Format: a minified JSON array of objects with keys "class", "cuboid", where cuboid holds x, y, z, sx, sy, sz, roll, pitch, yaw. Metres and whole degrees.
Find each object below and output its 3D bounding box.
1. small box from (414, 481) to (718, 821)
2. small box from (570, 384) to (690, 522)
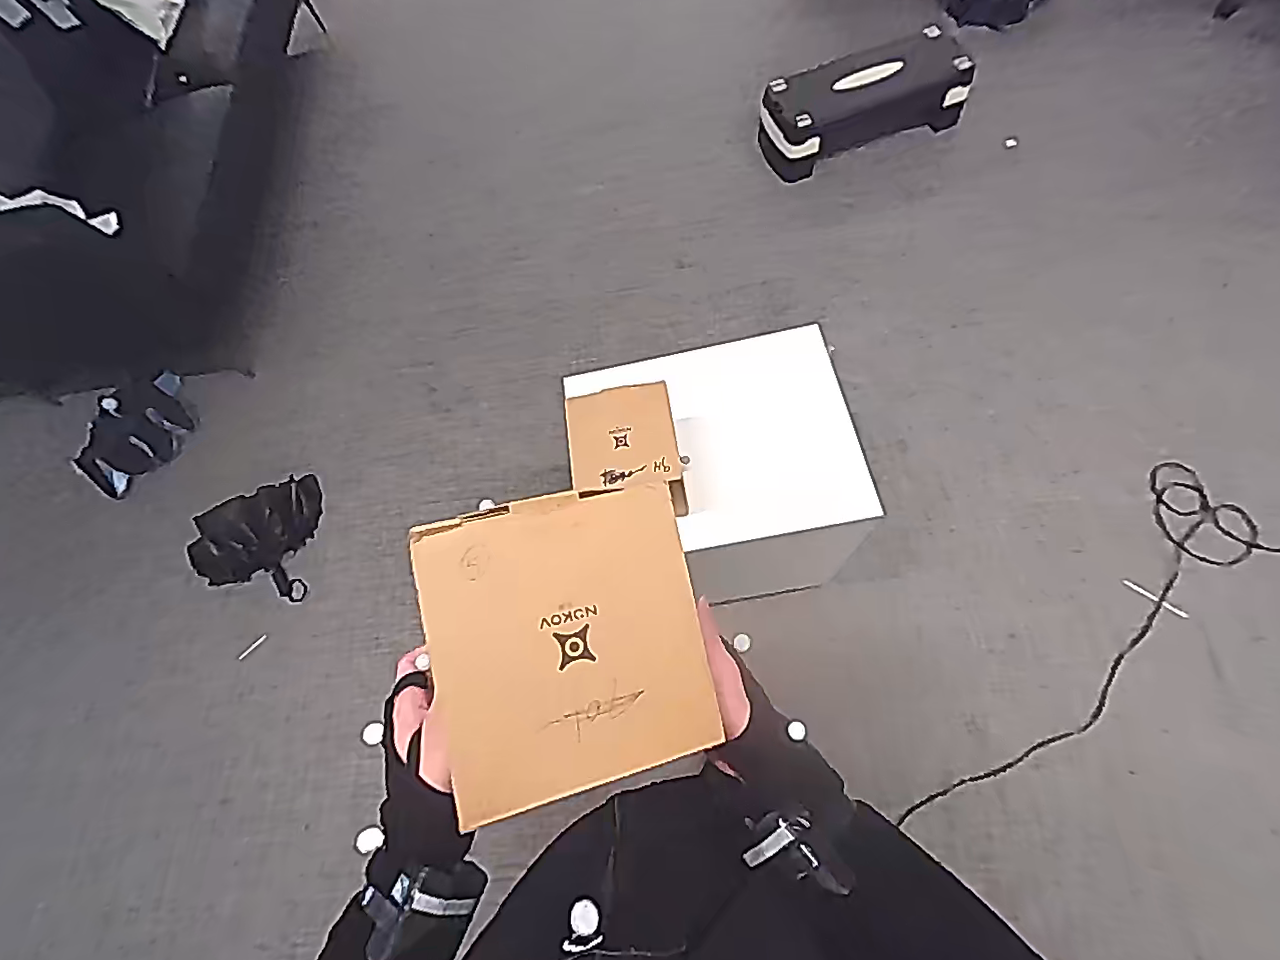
[{"class":"small box","cuboid":[-0.062,0.108,0.411,0.168,0.176,0.179,-11,86,-15]},{"class":"small box","cuboid":[-0.013,-0.031,0.899,0.168,0.176,0.179,-10,66,5]}]
